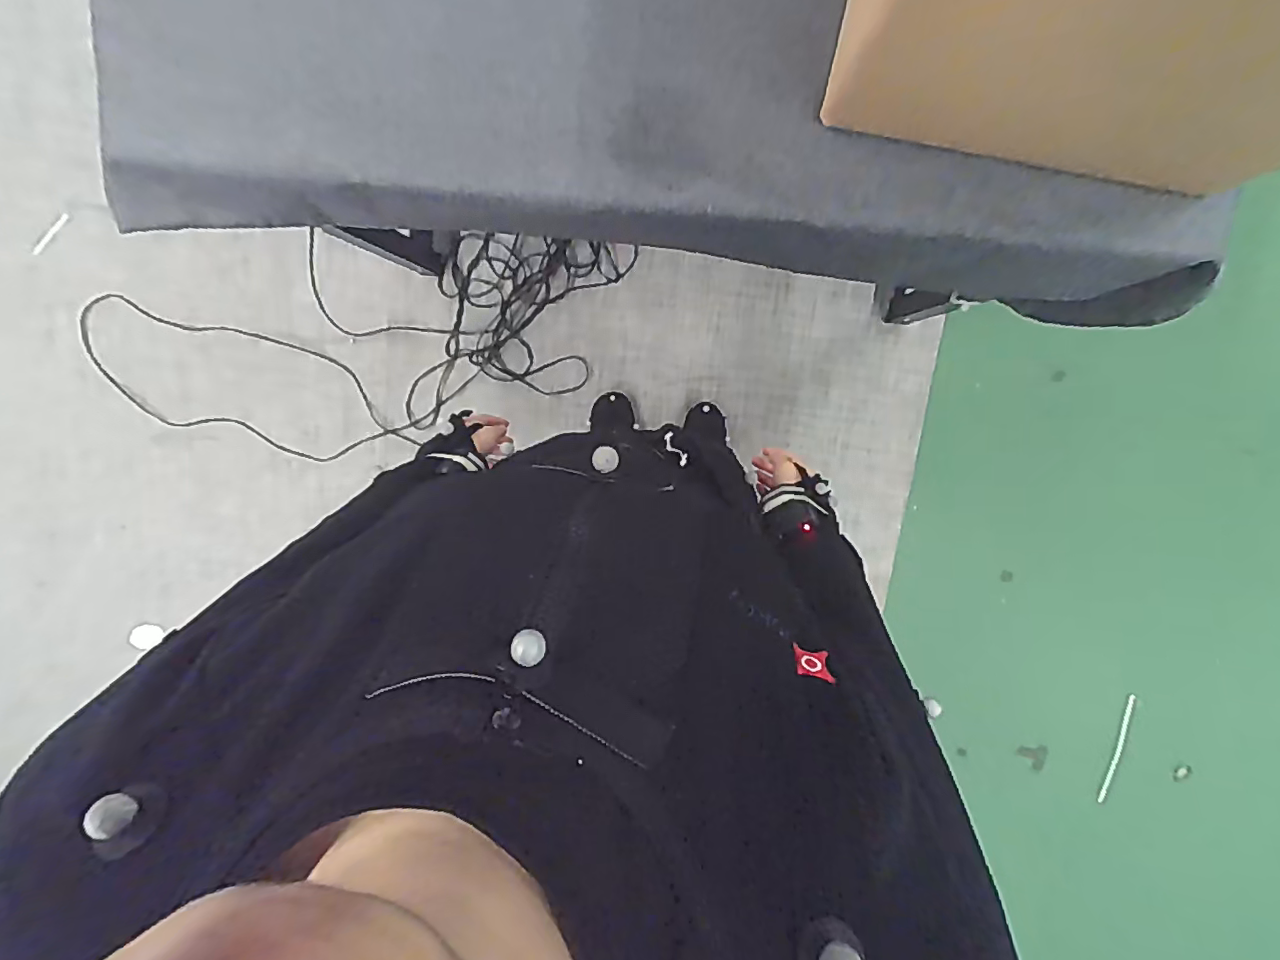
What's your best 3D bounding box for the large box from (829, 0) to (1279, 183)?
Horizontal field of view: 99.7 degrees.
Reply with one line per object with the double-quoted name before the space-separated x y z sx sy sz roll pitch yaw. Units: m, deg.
"large box" 0.401 -0.455 0.379 0.408 0.320 0.320 11 101 0
